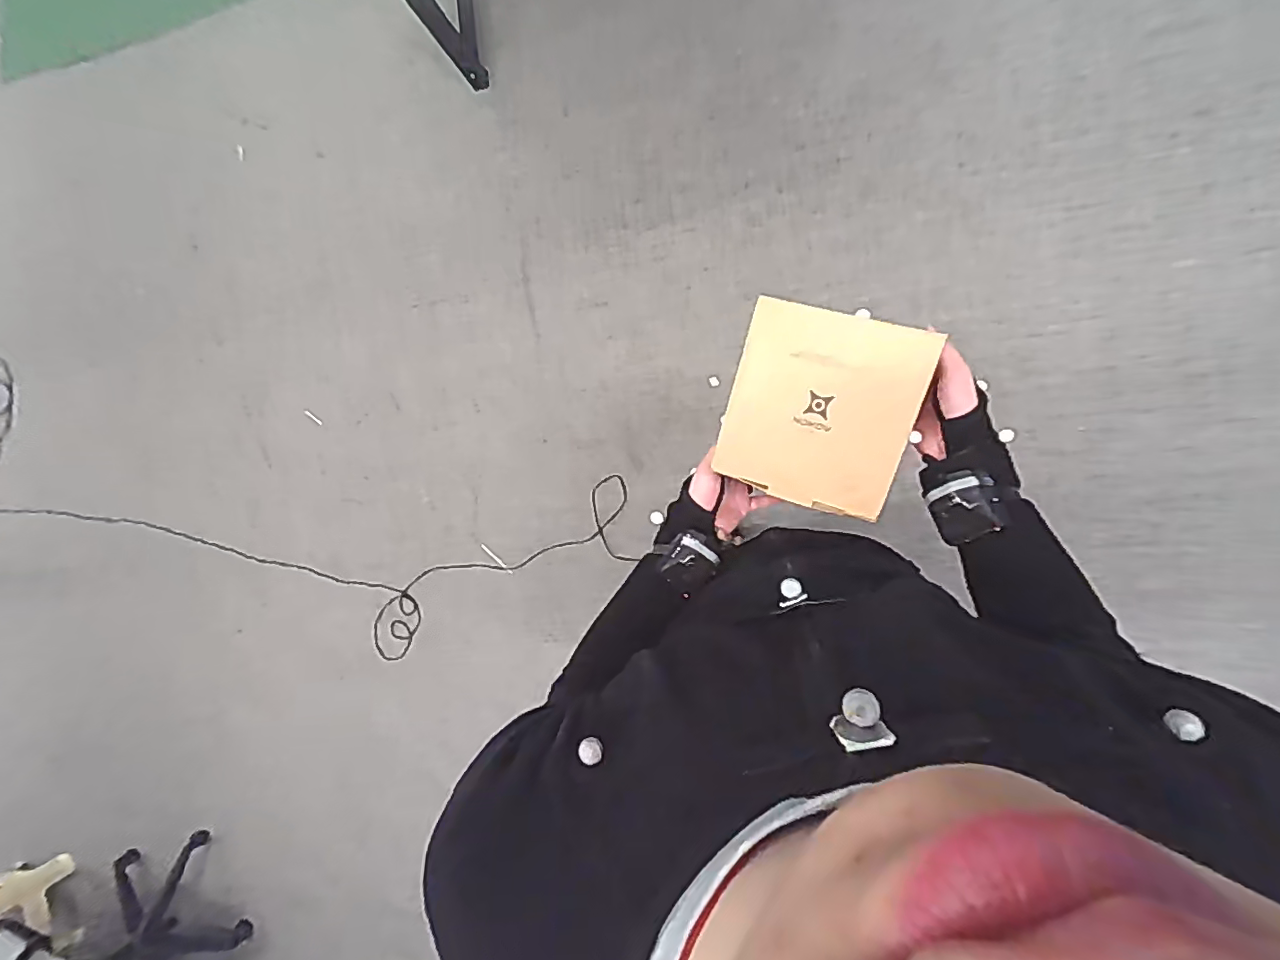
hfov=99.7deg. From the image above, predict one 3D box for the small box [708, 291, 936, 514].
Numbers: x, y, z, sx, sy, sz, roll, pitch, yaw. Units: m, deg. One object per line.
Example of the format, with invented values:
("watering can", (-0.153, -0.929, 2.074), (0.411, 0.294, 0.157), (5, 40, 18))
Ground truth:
("small box", (0.188, -0.087, 0.579), (0.168, 0.176, 0.179), (18, 106, 15))
